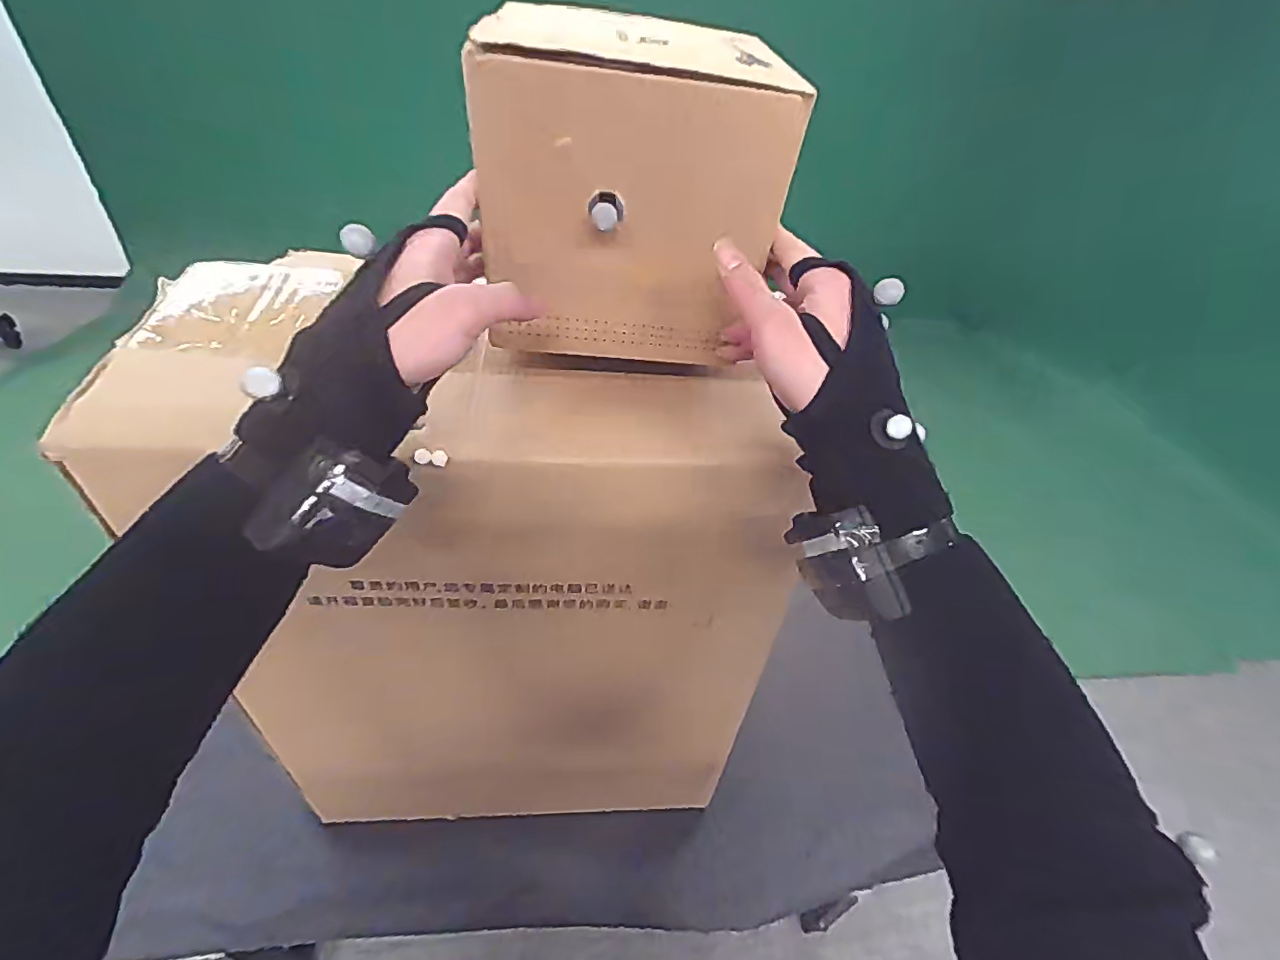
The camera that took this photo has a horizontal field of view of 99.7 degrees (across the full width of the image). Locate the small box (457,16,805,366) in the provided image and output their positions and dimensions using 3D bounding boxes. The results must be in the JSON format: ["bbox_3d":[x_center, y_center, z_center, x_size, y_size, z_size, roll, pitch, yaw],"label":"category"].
[{"bbox_3d":[-0.012,-0.195,0.375,0.179,0.176,0.168,3,46,-6],"label":"small box"}]
